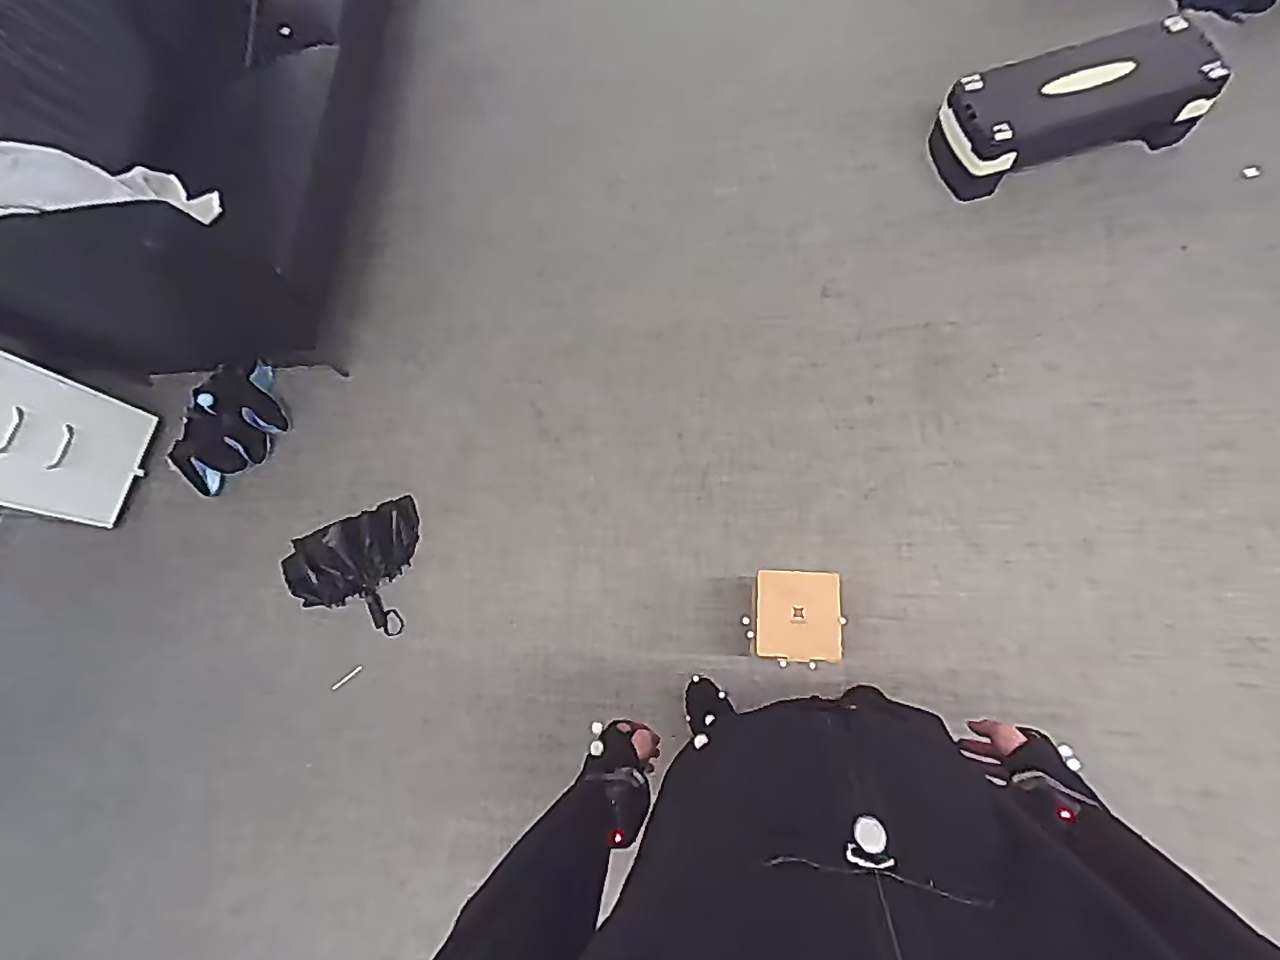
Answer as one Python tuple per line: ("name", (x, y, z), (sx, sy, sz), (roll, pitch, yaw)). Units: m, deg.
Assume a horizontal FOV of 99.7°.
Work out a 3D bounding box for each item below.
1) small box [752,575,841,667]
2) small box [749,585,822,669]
("small box", (0.333, 0.308, 1.171), (0.168, 0.176, 0.179), (1, 71, 9))
("small box", (0.354, 0.360, 1.324), (0.168, 0.176, 0.179), (2, 73, 11))
